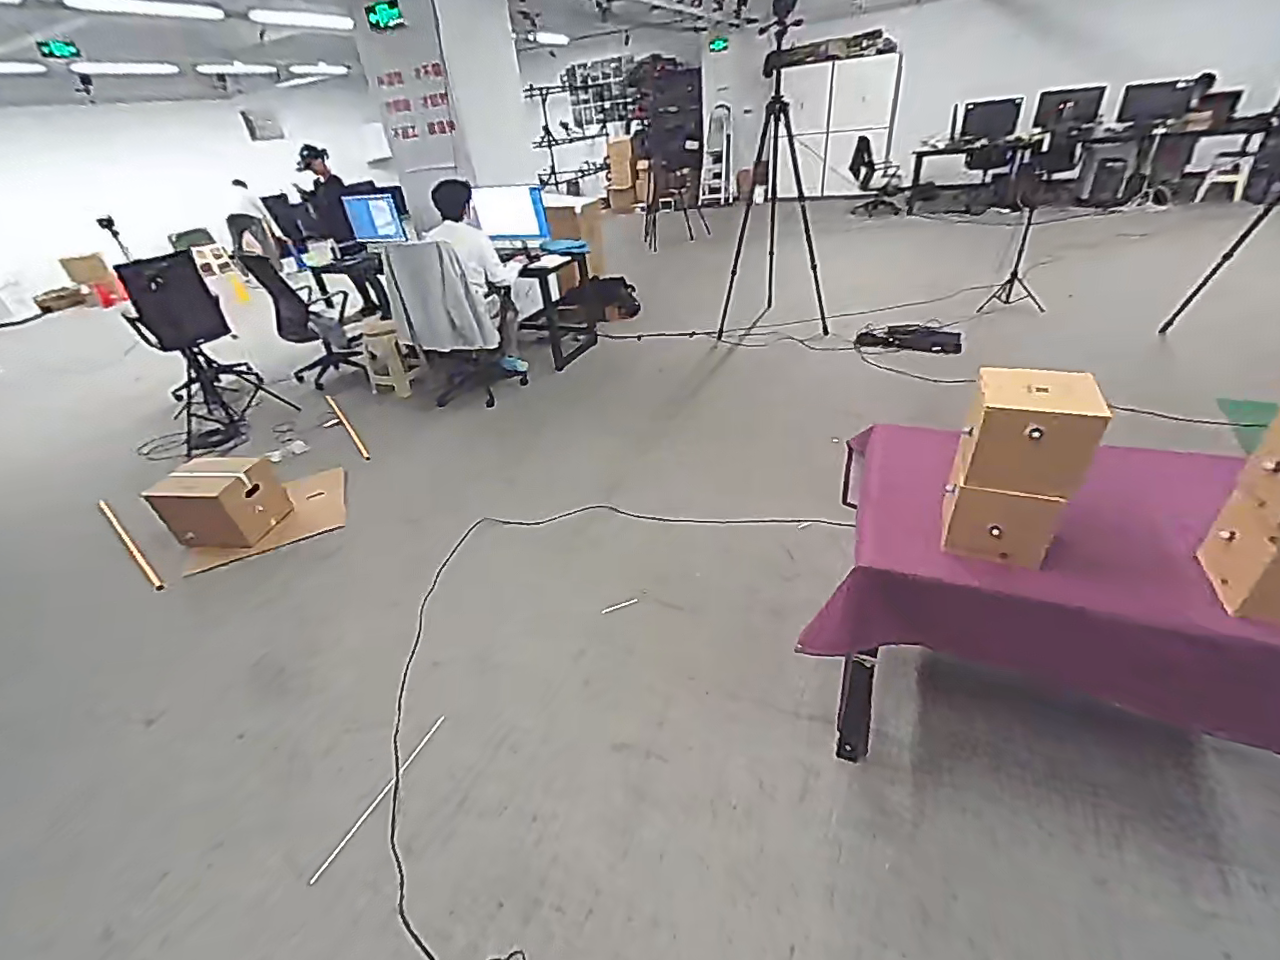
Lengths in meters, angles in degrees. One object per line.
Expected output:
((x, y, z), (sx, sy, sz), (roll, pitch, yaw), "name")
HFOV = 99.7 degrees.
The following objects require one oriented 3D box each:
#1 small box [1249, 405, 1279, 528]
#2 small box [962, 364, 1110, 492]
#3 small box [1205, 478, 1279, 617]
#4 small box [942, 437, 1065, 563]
((1.059, -0.016, 0.792), (0.179, 0.176, 0.168), (12, 39, 26), "small box")
((0.695, -0.095, 0.976), (0.179, 0.176, 0.168), (10, 39, 23), "small box")
((1.082, 0.120, 0.880), (0.179, 0.176, 0.168), (10, 37, 23), "small box")
((0.707, 0.039, 1.069), (0.168, 0.176, 0.179), (11, 38, 24), "small box")
